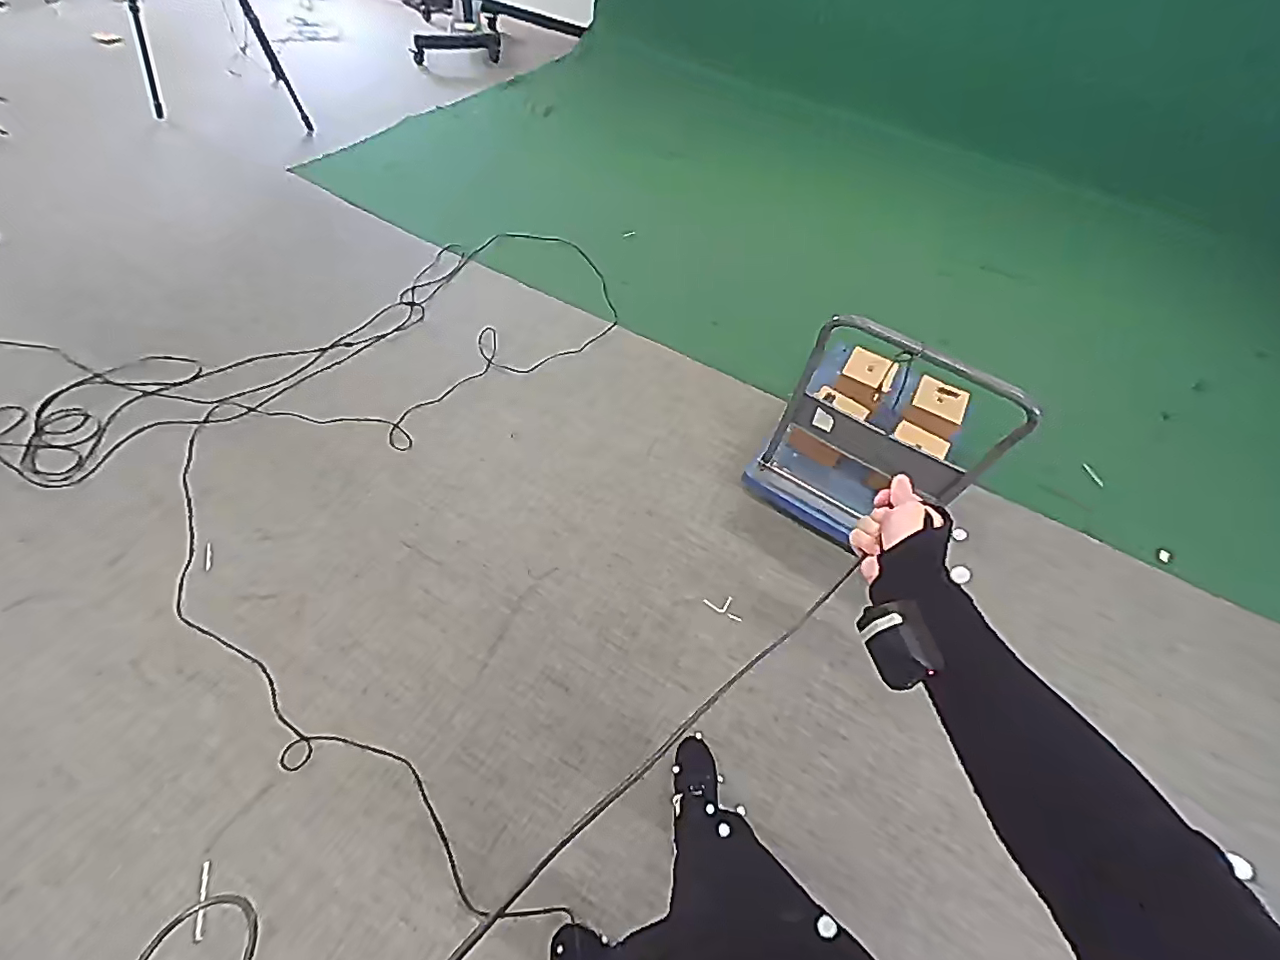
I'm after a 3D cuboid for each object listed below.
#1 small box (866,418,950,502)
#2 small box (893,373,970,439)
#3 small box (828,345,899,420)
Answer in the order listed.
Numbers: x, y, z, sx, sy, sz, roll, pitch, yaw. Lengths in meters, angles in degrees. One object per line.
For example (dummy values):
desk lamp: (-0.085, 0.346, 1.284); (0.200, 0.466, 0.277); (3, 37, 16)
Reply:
small box: (0.872, -0.063, 1.771); (0.168, 0.176, 0.179); (32, 58, 16)
small box: (1.023, -0.238, 1.909); (0.168, 0.176, 0.179); (28, 58, 14)
small box: (0.806, -0.352, 1.968); (0.168, 0.176, 0.179); (28, 57, 13)
